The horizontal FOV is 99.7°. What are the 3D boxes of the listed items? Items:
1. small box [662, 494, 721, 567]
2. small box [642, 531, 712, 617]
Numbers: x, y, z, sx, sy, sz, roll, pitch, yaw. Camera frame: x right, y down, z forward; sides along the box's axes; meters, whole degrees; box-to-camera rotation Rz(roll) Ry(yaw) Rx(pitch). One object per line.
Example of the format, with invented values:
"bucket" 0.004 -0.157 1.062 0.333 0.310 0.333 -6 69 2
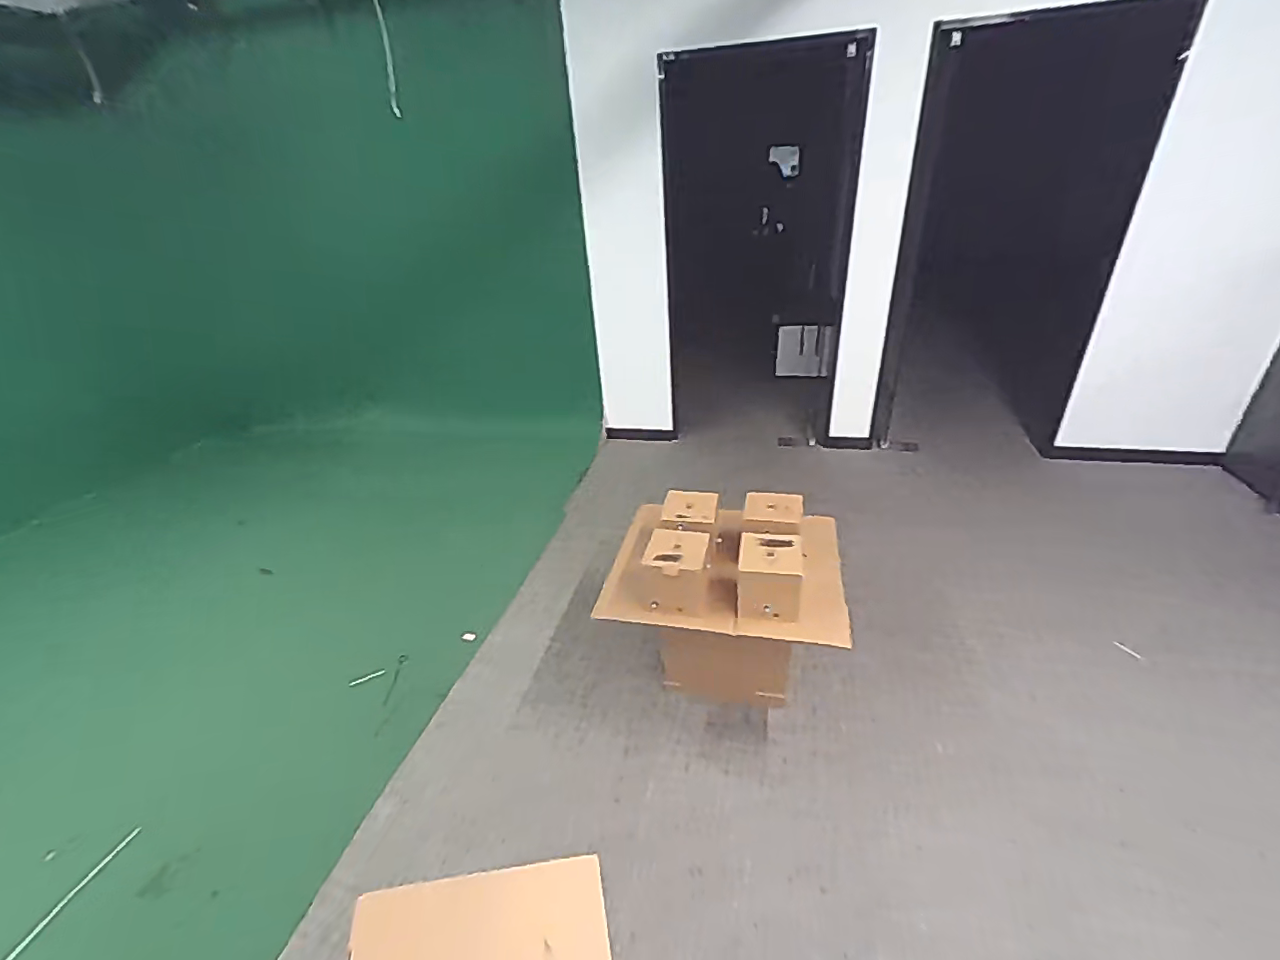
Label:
"small box" 0.168 0.159 1.726 0.168 0.176 0.179 1 28 13
"small box" 0.113 0.268 1.540 0.168 0.176 0.179 3 29 15
